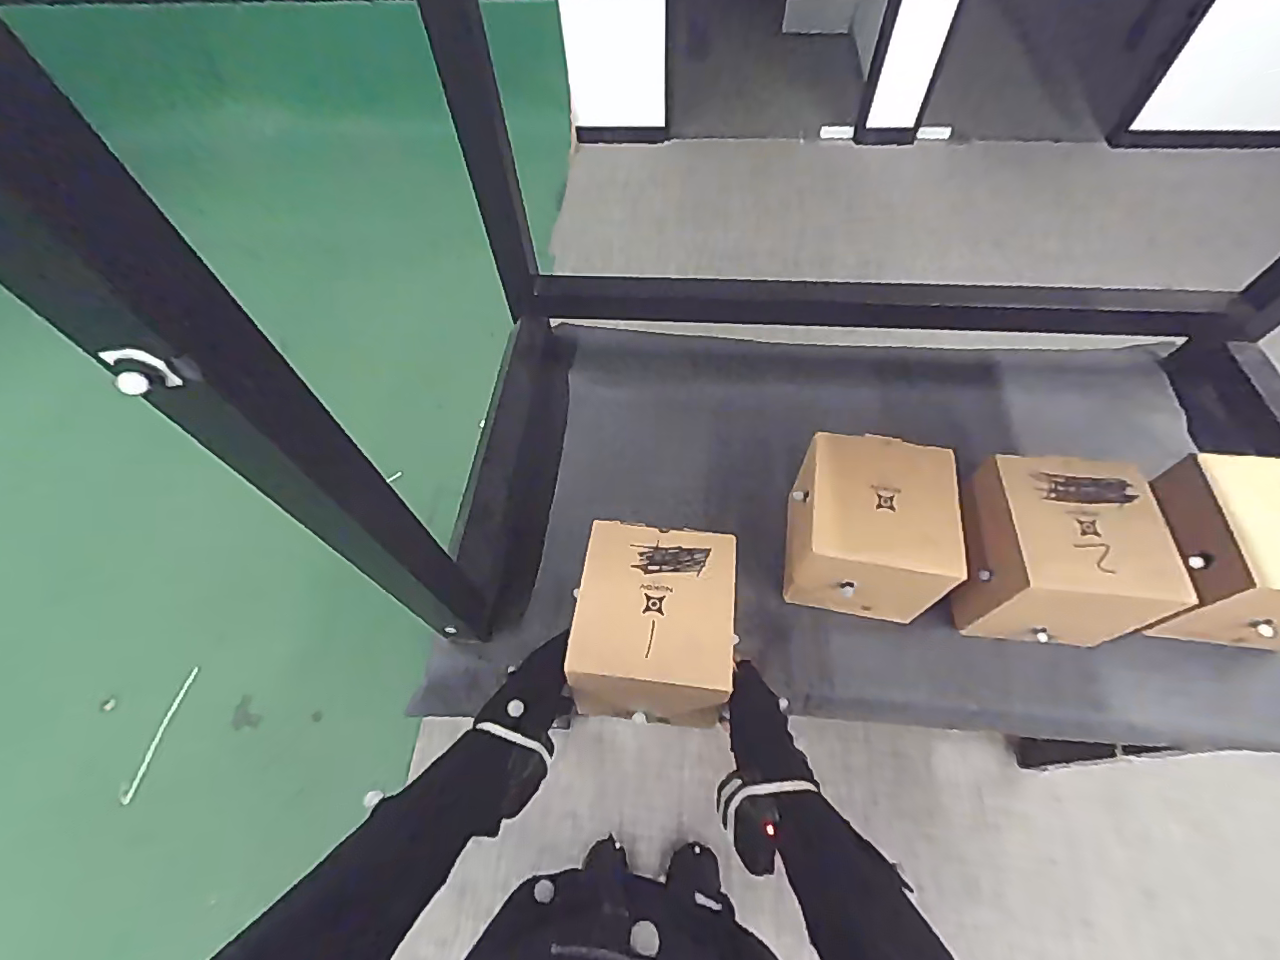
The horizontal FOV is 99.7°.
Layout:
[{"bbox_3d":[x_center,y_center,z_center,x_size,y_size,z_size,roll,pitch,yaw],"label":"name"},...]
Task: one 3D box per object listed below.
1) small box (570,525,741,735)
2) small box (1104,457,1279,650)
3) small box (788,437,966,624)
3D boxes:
[{"bbox_3d":[0.021,0.178,0.633,0.168,0.176,0.179,6,53,5],"label":"small box"},{"bbox_3d":[0.731,0.095,0.662,0.168,0.176,0.179,6,57,6],"label":"small box"},{"bbox_3d":[0.292,0.071,0.702,0.168,0.176,0.179,8,58,8],"label":"small box"}]
